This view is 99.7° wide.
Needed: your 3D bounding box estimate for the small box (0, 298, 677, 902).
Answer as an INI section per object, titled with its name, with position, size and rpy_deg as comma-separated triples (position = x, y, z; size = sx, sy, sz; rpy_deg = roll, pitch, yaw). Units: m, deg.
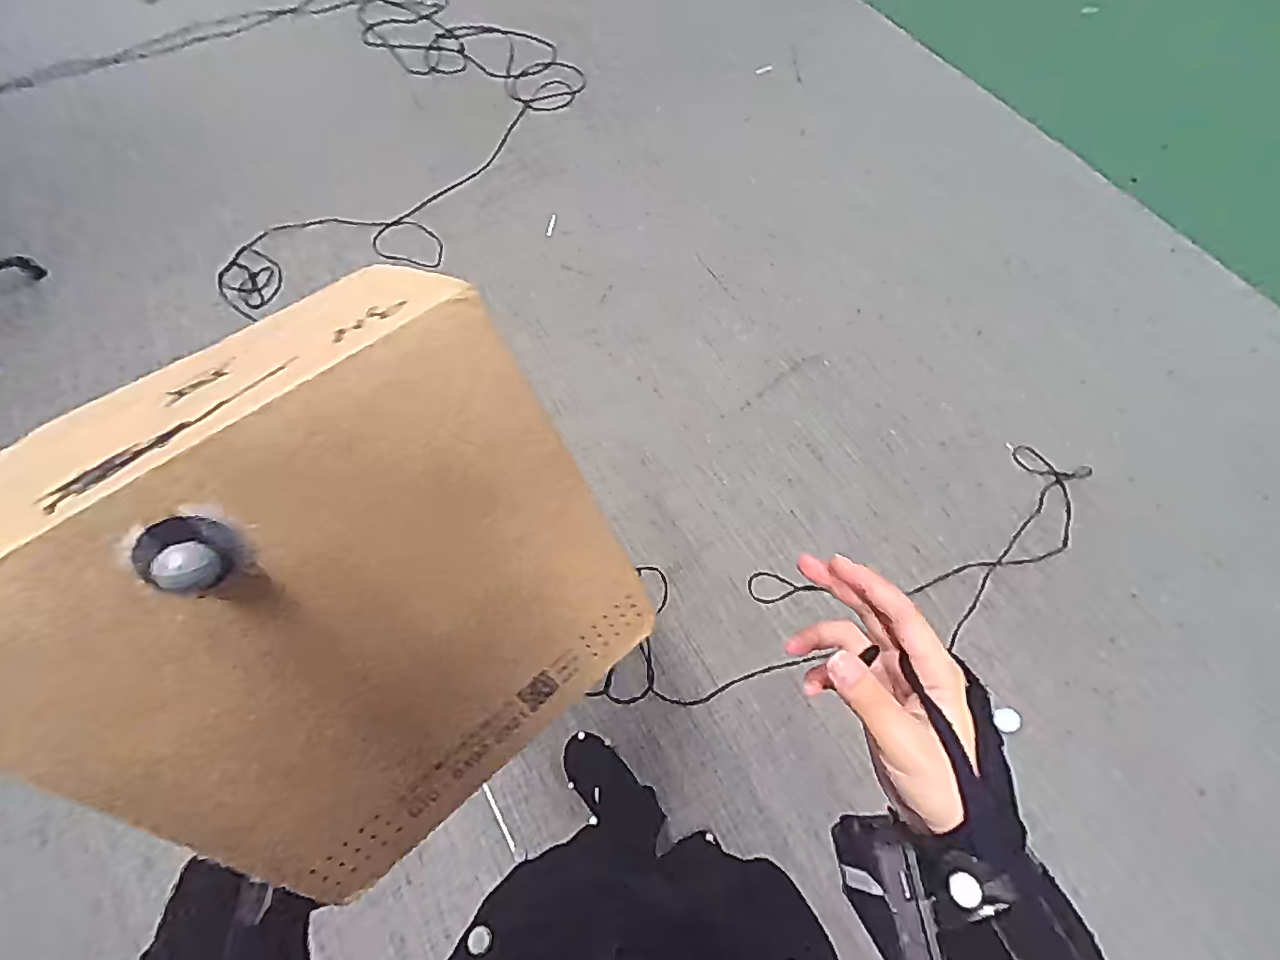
[small box]
position = -0.113, 0.036, 0.249
size = 0.168, 0.176, 0.179
rpy_deg = -38, 36, -17
